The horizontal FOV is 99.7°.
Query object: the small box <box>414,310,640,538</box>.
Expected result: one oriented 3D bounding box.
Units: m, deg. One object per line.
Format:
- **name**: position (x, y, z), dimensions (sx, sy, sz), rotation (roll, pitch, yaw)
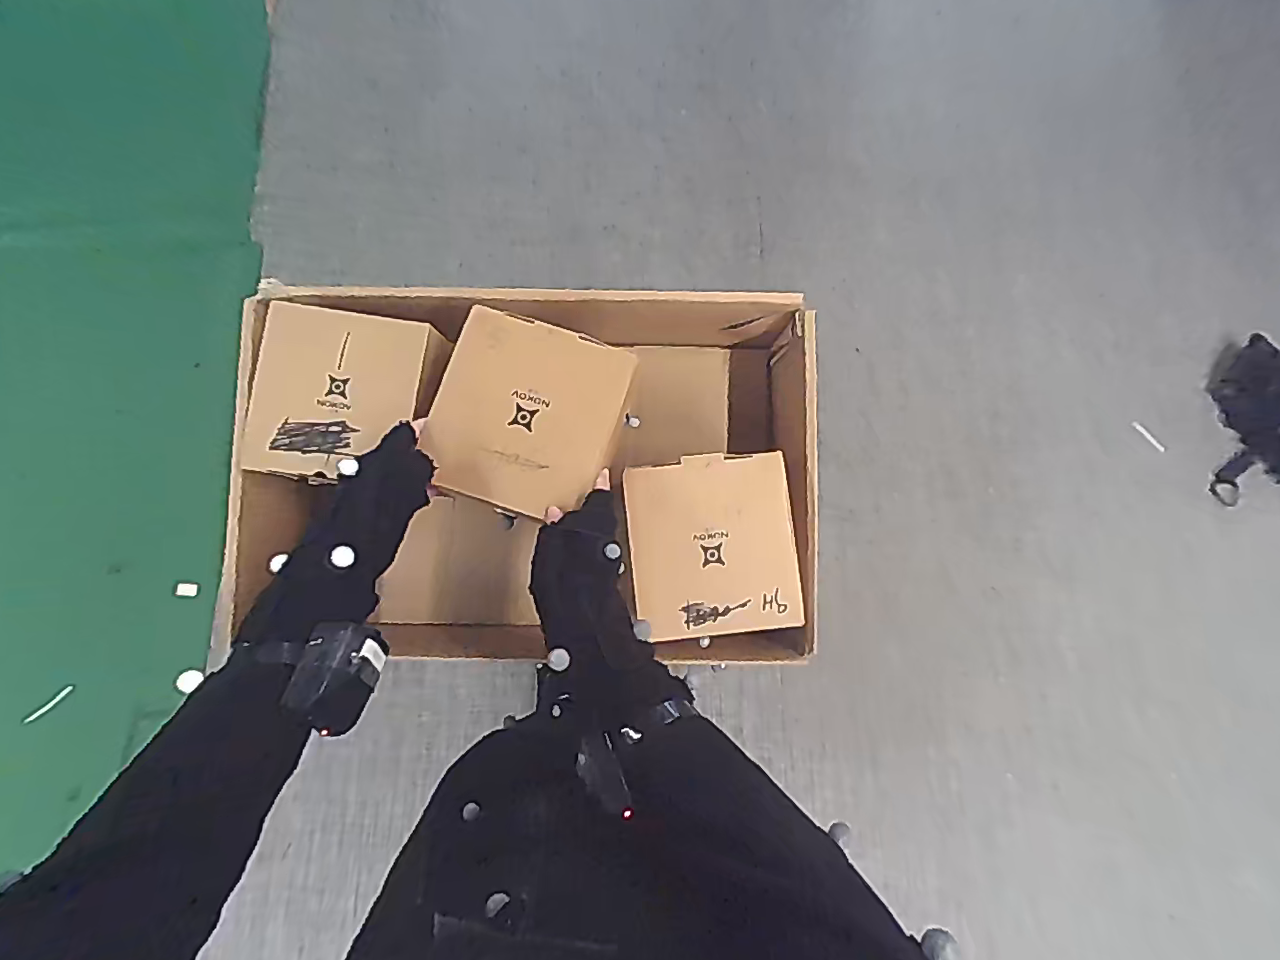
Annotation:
- **small box**: position (-0.105, -0.046, 0.578), dimensions (0.168, 0.176, 0.179), rotation (17, 82, 2)
